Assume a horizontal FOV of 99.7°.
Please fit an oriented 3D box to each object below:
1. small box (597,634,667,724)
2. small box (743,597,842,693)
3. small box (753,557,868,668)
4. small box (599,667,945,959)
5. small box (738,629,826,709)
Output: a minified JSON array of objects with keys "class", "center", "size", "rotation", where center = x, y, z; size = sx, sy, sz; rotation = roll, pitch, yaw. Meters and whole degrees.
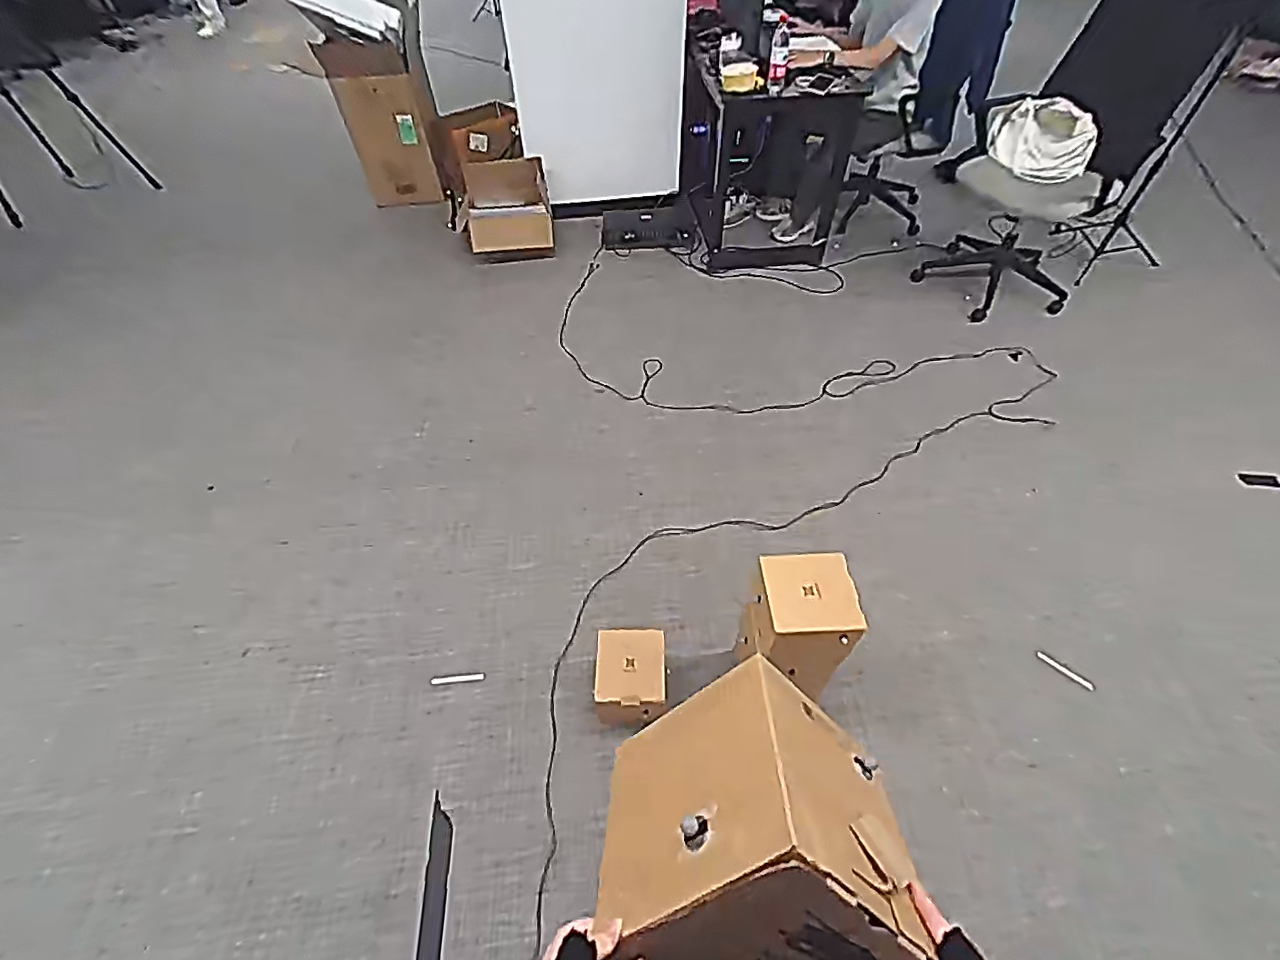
[{"class":"small box","center":[-0.015,0.502,1.353],"size":[0.168,0.176,0.179],"rotation":[0,51,1]},{"class":"small box","center":[0.334,0.377,1.231],"size":[0.179,0.176,0.168],"rotation":[-1,51,0]},{"class":"small box","center":[0.334,0.275,1.105],"size":[0.179,0.176,0.168],"rotation":[-3,51,-2]},{"class":"small box","center":[0.091,0.289,0.435],"size":[0.179,0.168,0.176],"rotation":[-42,14,20]},{"class":"small box","center":[0.347,0.478,1.362],"size":[0.179,0.176,0.168],"rotation":[-3,52,-1]}]
